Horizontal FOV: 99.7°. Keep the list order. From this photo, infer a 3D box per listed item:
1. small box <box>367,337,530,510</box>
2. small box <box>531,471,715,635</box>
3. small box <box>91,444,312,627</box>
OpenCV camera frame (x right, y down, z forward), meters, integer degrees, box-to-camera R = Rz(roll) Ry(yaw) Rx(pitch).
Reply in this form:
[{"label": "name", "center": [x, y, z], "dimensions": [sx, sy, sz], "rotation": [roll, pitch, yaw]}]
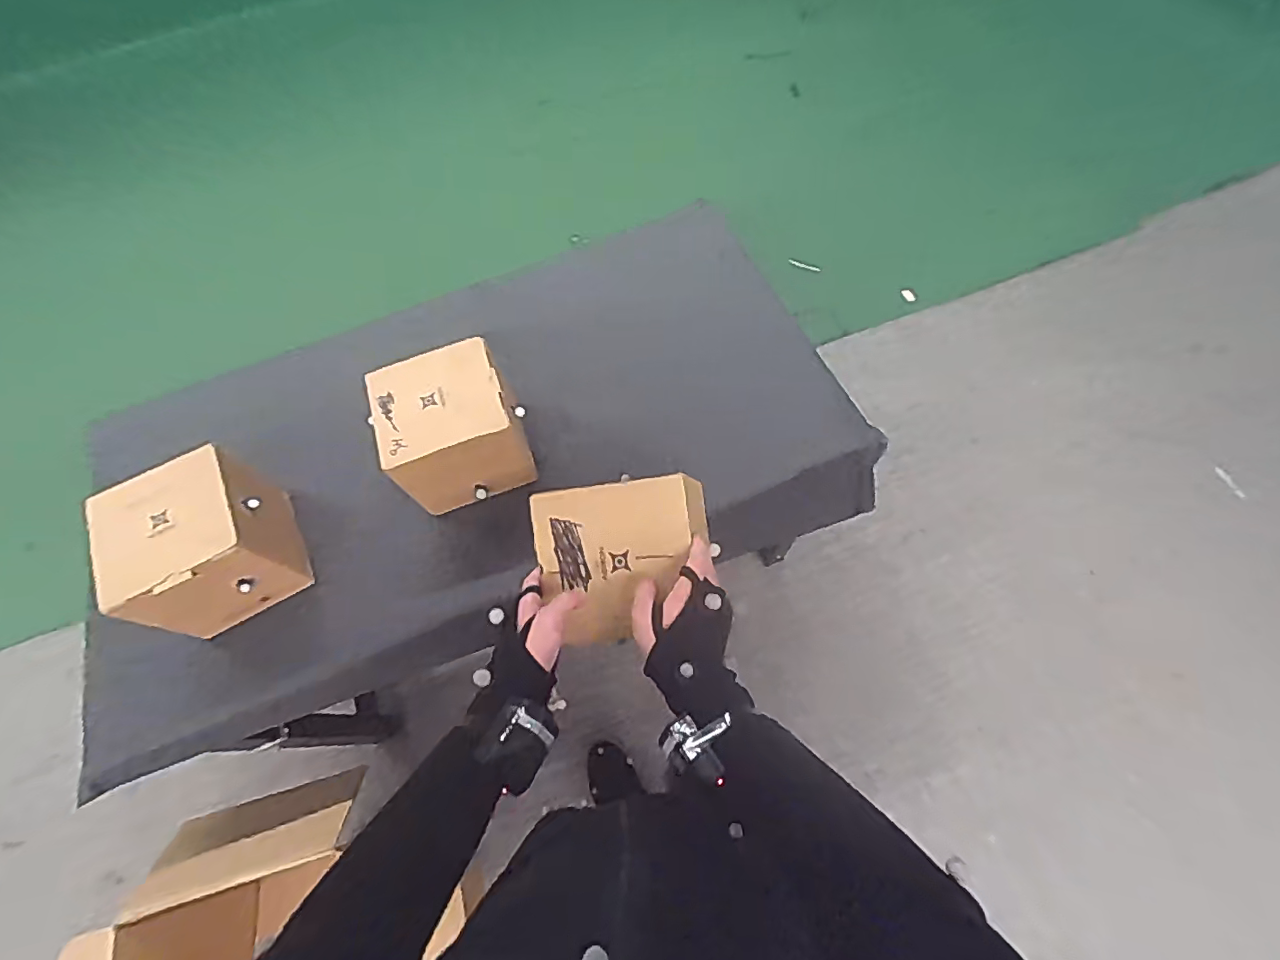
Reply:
[{"label": "small box", "center": [-0.274, -0.077, 0.812], "dimensions": [0.179, 0.176, 0.168], "rotation": [-20, 65, -6]}, {"label": "small box", "center": [-0.012, 0.084, 0.652], "dimensions": [0.179, 0.176, 0.168], "rotation": [-7, 86, 12]}, {"label": "small box", "center": [-0.601, 0.088, 0.759], "dimensions": [0.168, 0.176, 0.179], "rotation": [-29, 65, -11]}]
